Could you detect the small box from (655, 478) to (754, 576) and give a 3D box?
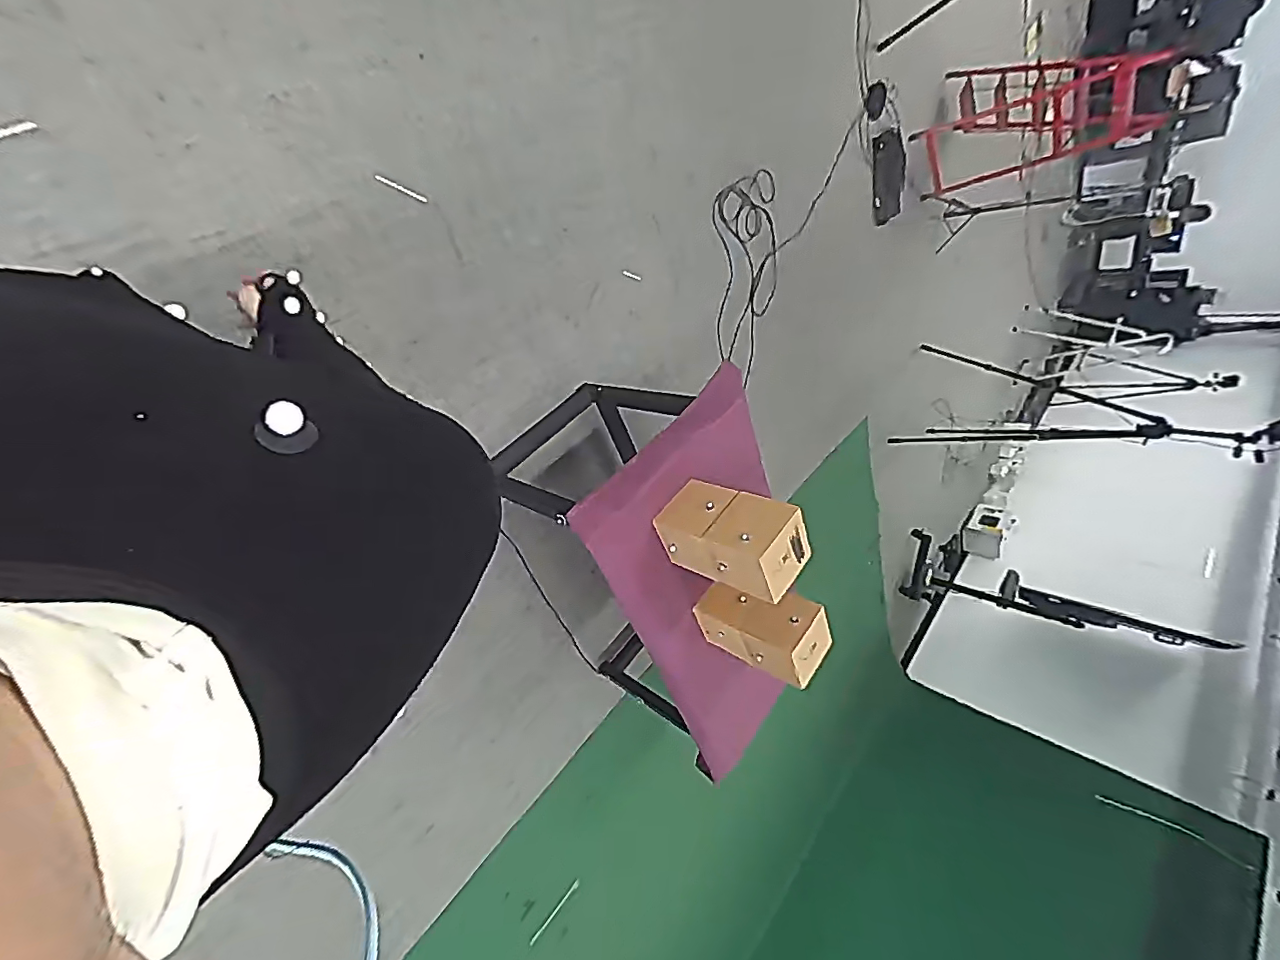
[{"bbox_3d":[0.170,0.115,1.425,0.179,0.176,0.168,-45,129,-26],"label":"small box"}]

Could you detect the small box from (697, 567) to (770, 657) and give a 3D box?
[{"bbox_3d":[0.291,0.388,1.626,0.179,0.176,0.168,-46,129,-28],"label":"small box"}]

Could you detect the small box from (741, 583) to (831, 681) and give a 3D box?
[{"bbox_3d":[0.409,0.417,1.515,0.179,0.176,0.168,-45,128,-28],"label":"small box"}]
